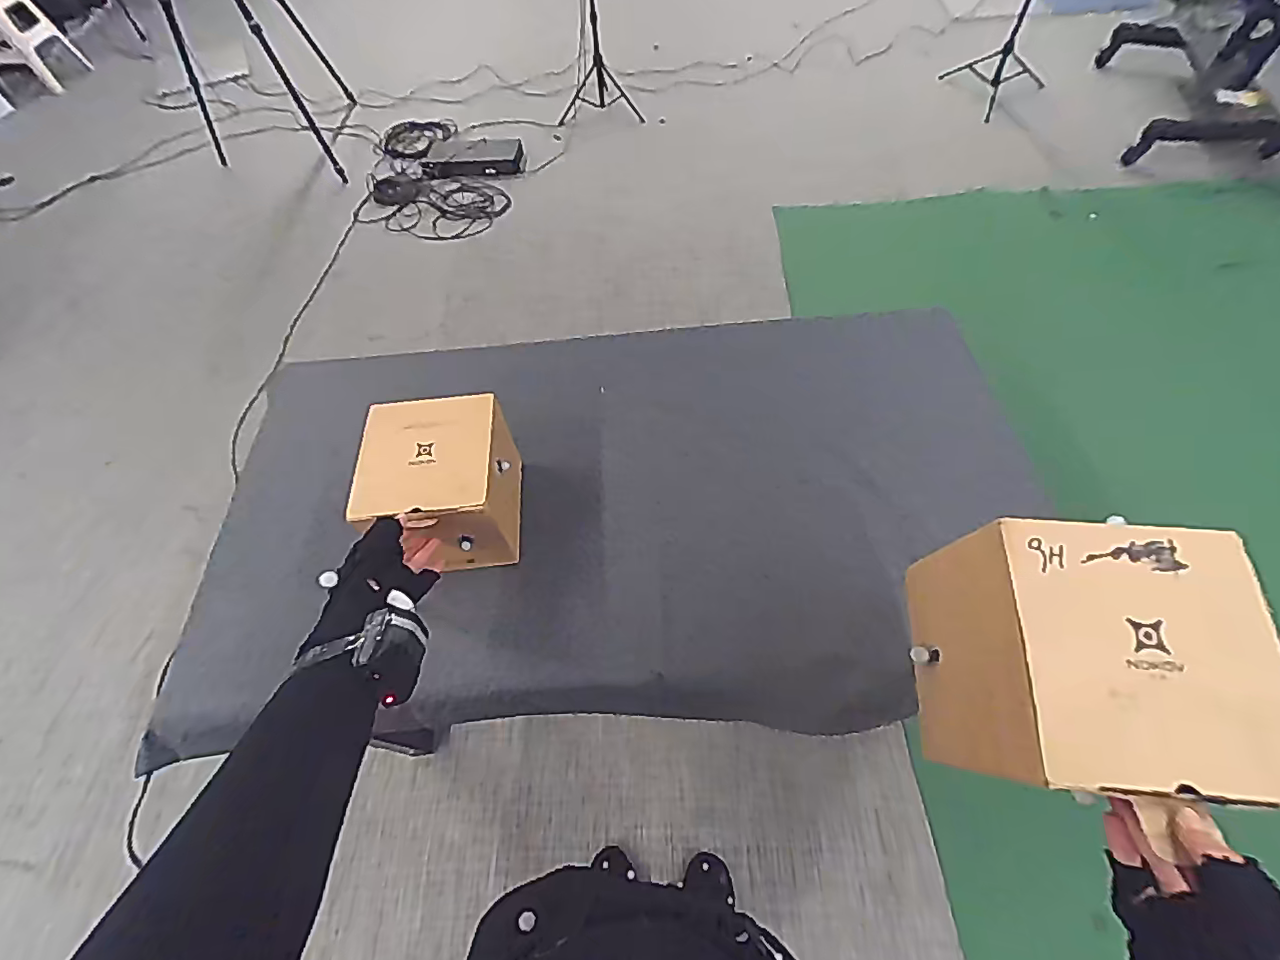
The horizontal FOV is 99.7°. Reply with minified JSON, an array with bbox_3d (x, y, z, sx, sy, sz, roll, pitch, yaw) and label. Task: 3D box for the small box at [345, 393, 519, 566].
[{"bbox_3d":[-0.264,0.008,0.734,0.168,0.176,0.179,-5,57,-2],"label":"small box"}]
